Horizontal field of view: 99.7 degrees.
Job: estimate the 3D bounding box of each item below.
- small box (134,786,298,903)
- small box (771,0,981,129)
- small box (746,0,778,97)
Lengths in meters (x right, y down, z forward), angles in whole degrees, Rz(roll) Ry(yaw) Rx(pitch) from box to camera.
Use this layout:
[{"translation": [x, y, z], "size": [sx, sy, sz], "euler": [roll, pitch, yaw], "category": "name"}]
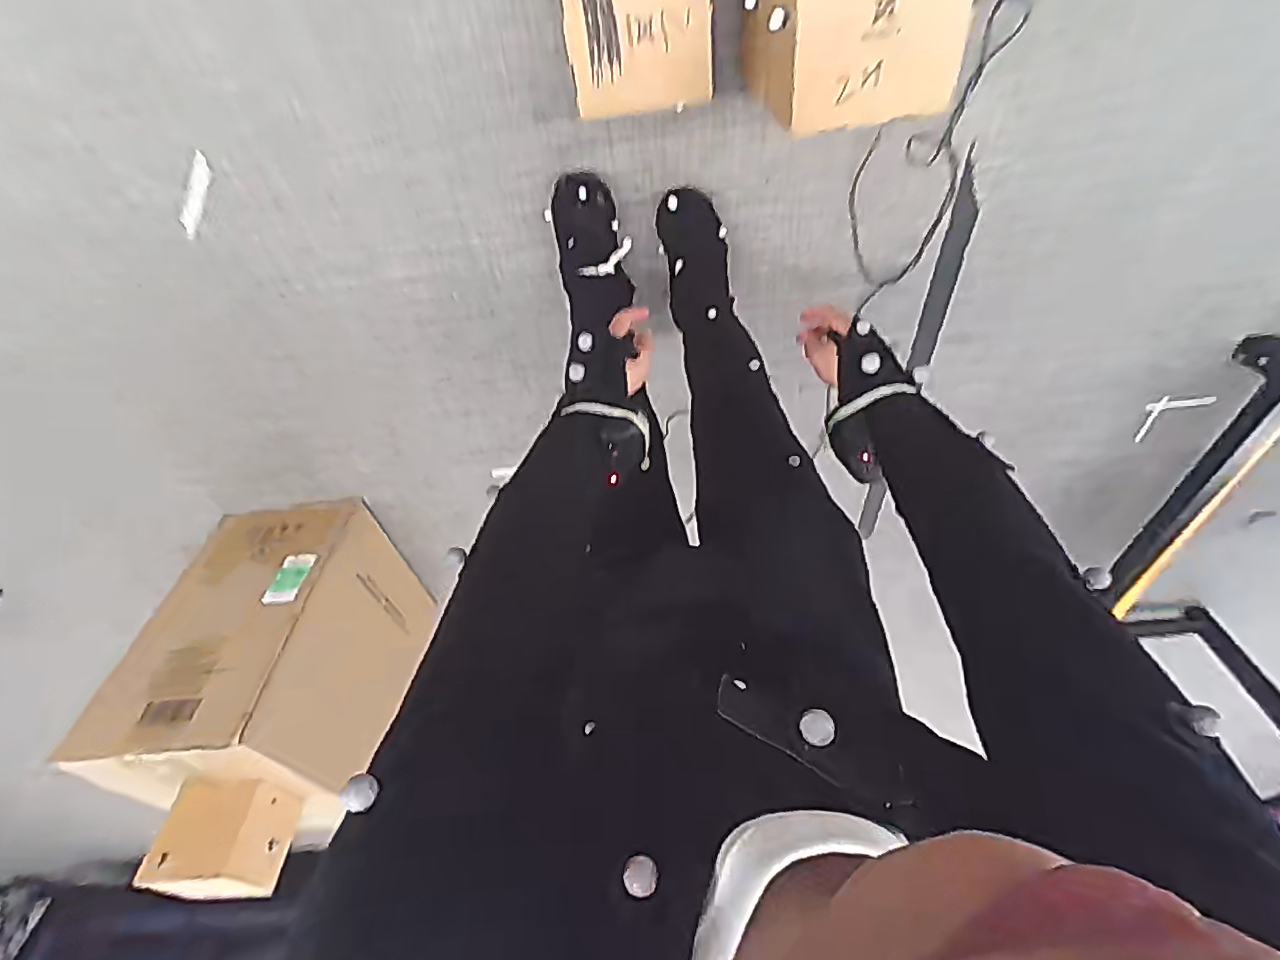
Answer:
[{"translation": [-0.831, 0.733, 1.089], "size": [0.179, 0.176, 0.168], "euler": [-5, 134, 3], "category": "small box"}, {"translation": [0.235, -0.498, 0.566], "size": [0.168, 0.176, 0.179], "euler": [-6, 135, 5], "category": "small box"}, {"translation": [0.231, -0.613, 0.684], "size": [0.168, 0.176, 0.179], "euler": [-5, 135, 4], "category": "small box"}]
